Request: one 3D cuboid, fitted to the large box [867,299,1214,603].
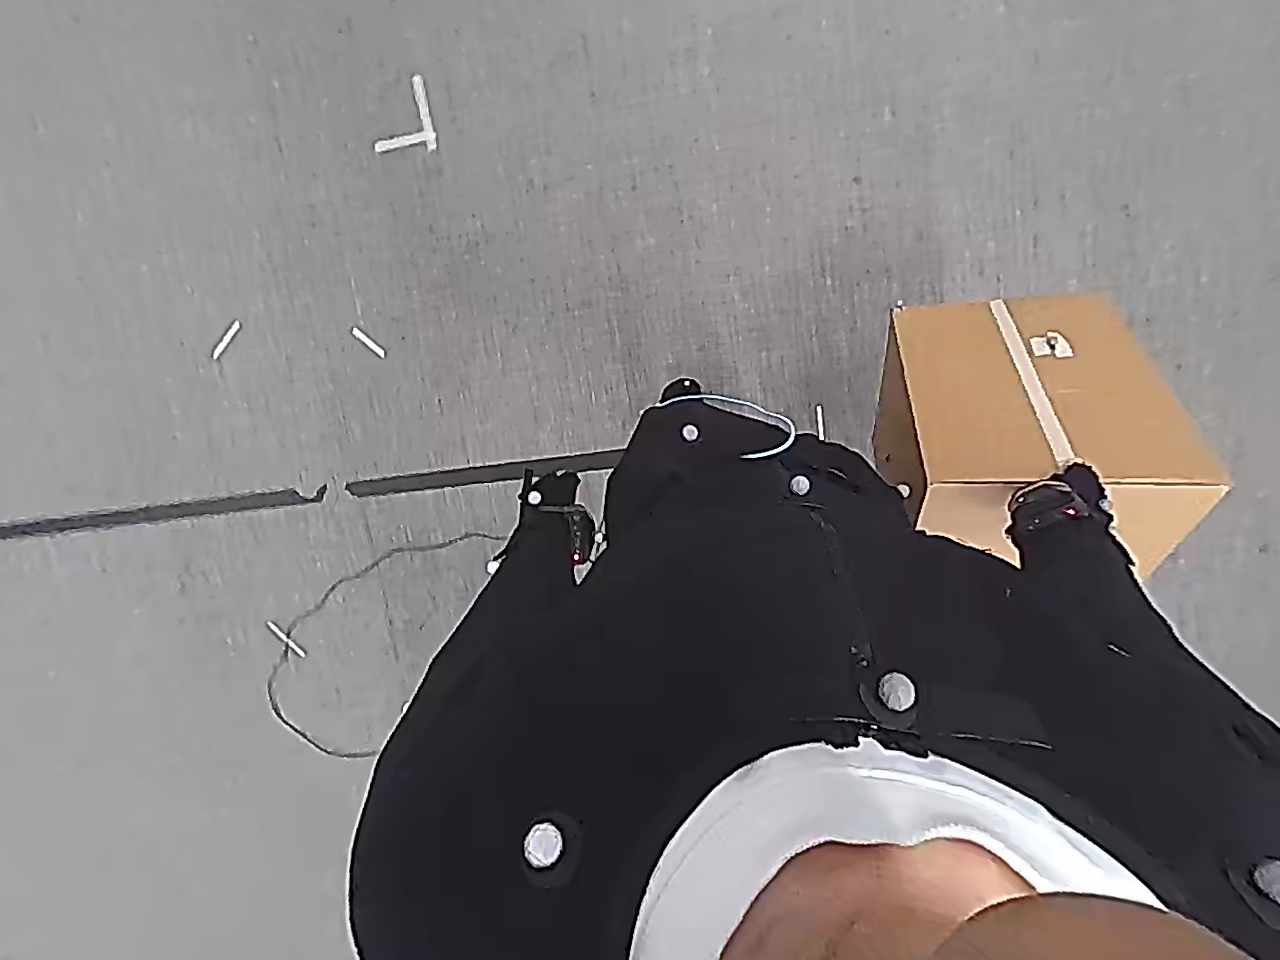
[{"bbox_3d":[0.576,-0.047,0.894,0.320,0.408,0.320,0,138,13],"label":"large box"}]
